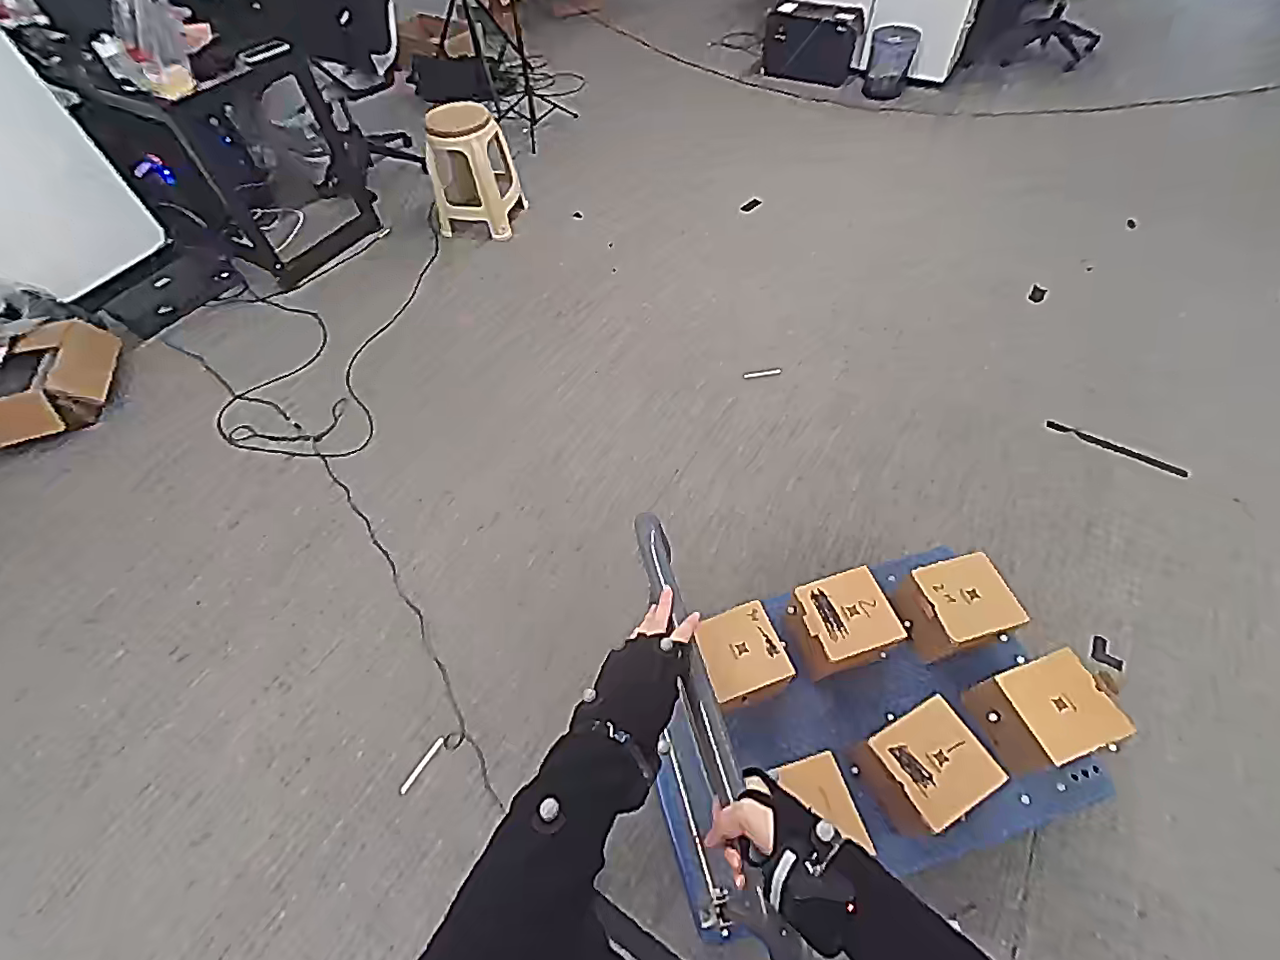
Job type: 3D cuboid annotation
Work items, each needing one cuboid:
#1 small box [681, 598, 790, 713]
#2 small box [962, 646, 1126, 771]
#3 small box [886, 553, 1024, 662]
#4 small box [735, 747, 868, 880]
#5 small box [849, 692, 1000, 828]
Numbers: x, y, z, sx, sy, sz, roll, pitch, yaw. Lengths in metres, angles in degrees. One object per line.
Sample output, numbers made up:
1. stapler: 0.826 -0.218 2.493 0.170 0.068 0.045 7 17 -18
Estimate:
1. small box: 0.197 0.382 1.163 0.179 0.176 0.168 -17 58 -8
2. small box: 0.784 0.461 1.080 0.179 0.176 0.168 -17 56 -8
3. small box: 0.685 0.286 1.202 0.179 0.176 0.168 -13 56 -5
4. small box: 0.283 0.617 1.001 0.179 0.176 0.168 -14 57 -7
5. small box: 0.527 0.542 1.038 0.179 0.176 0.168 -24 58 -14
